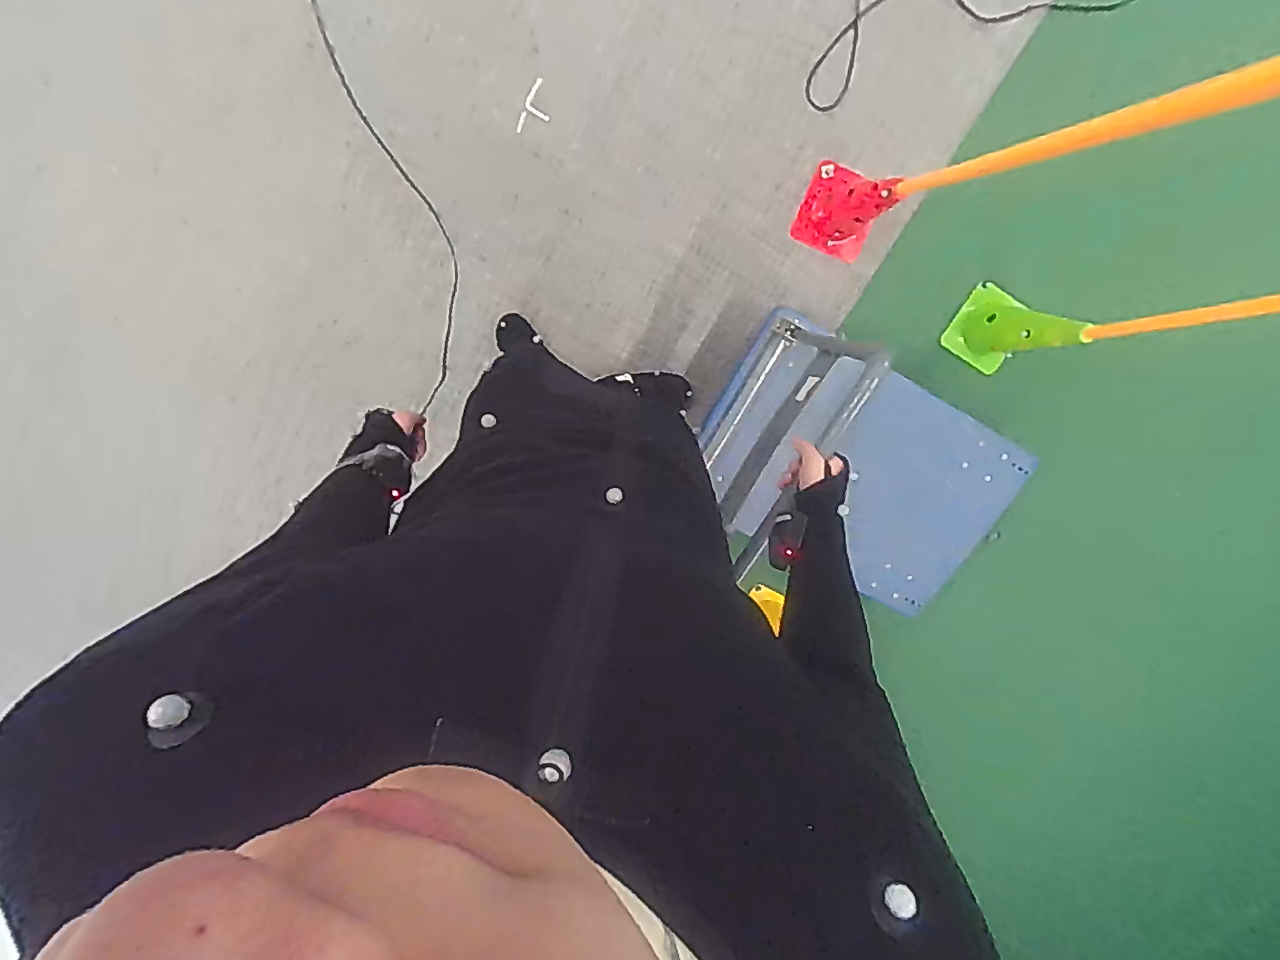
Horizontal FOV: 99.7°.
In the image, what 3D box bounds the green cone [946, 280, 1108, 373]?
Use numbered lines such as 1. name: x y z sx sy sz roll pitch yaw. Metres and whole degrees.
1. green cone: 0.986 -0.369 1.345 0.202 0.368 0.200 27 105 -11
